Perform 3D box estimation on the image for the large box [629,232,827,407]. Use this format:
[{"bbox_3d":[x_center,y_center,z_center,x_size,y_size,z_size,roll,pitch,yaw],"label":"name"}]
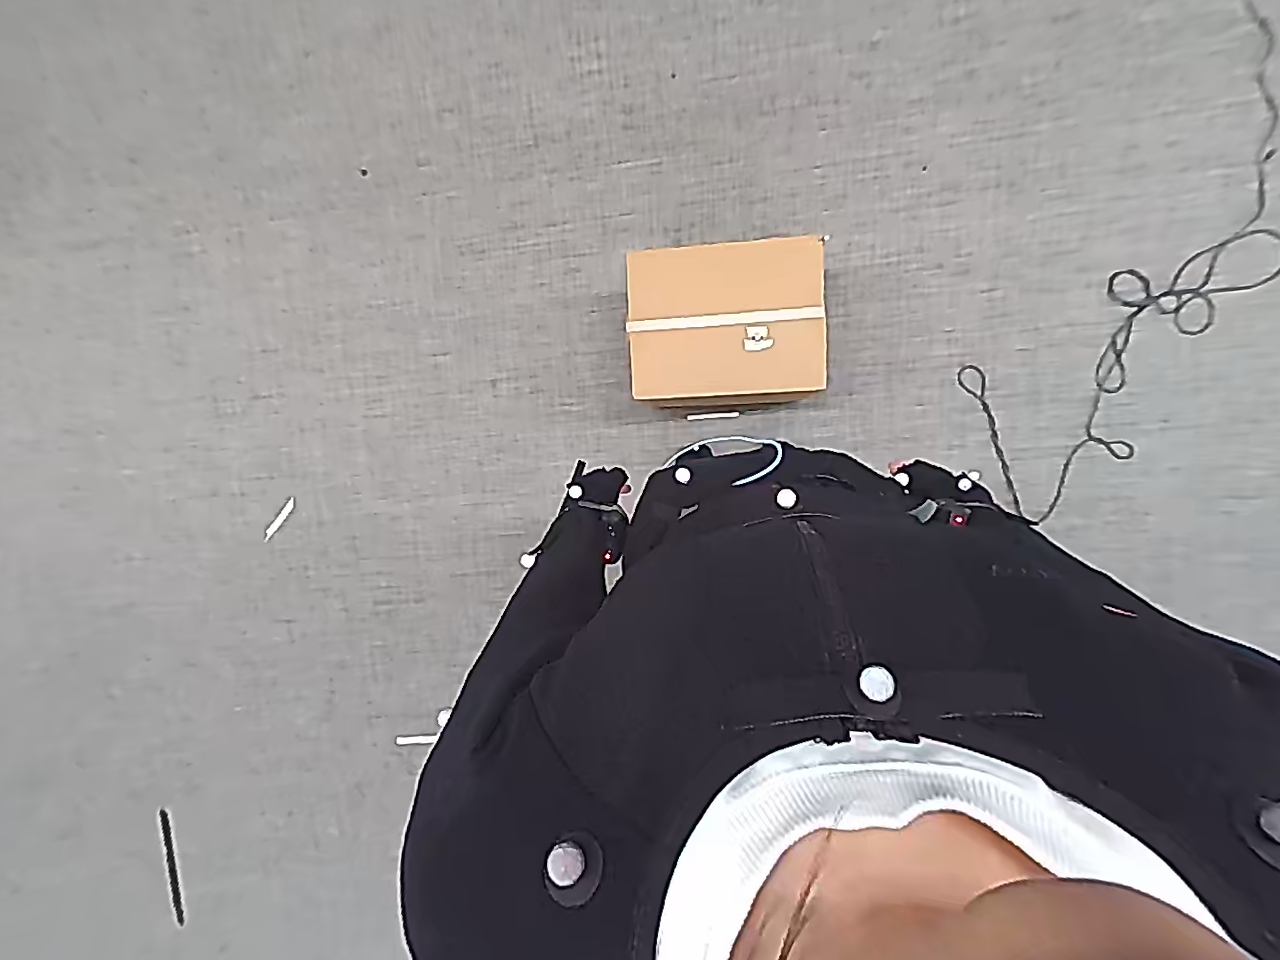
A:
[{"bbox_3d":[0.198,-0.350,1.275,0.408,0.320,0.320,-2,94,7],"label":"large box"}]
